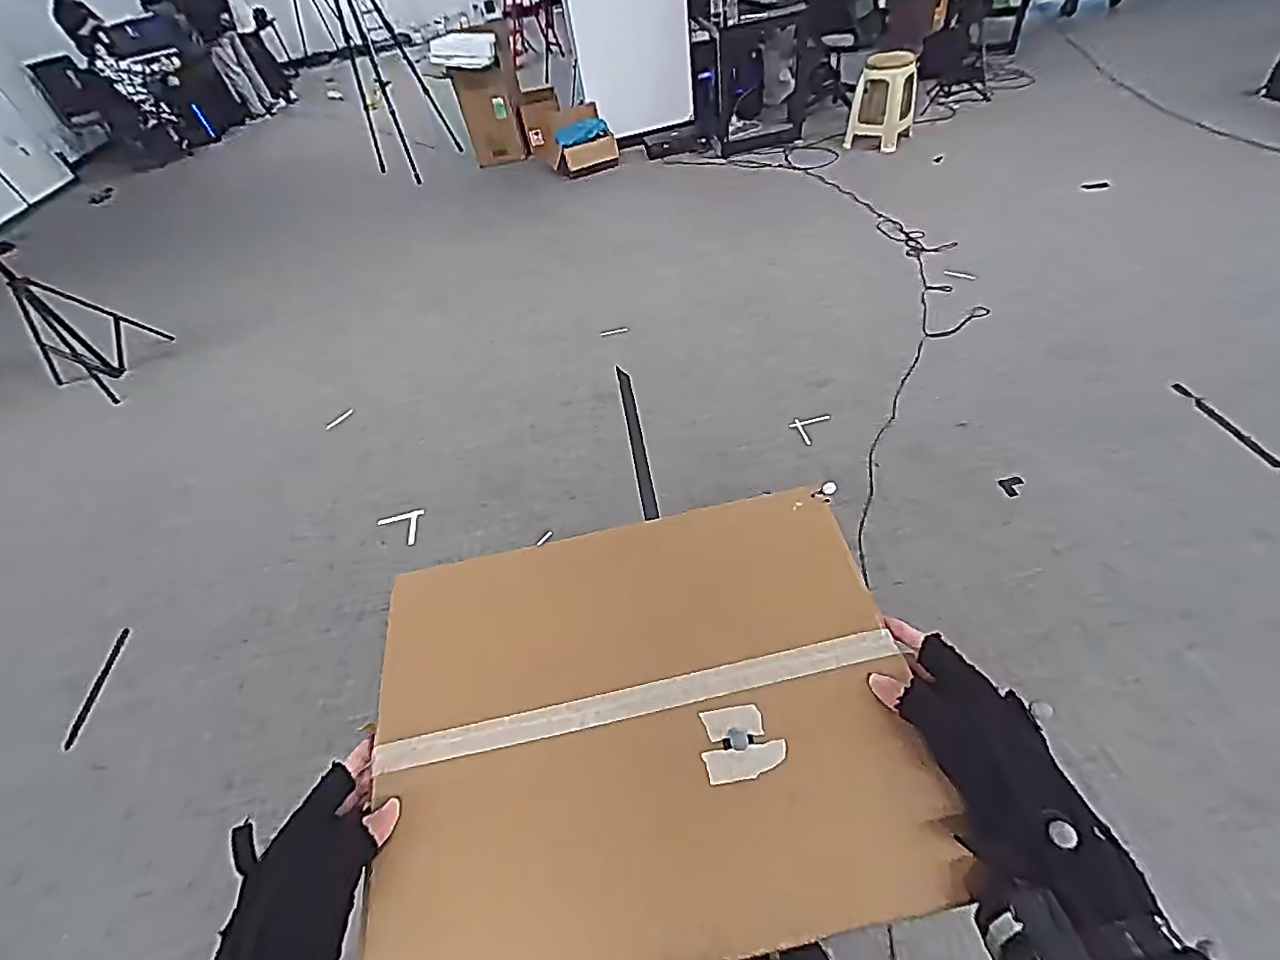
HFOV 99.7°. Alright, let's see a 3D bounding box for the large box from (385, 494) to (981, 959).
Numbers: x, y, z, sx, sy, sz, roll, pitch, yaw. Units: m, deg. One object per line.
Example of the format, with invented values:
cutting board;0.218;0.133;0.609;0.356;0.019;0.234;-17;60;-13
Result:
large box;0.018;0.263;0.550;0.408;0.320;0.320;-12;54;-1
